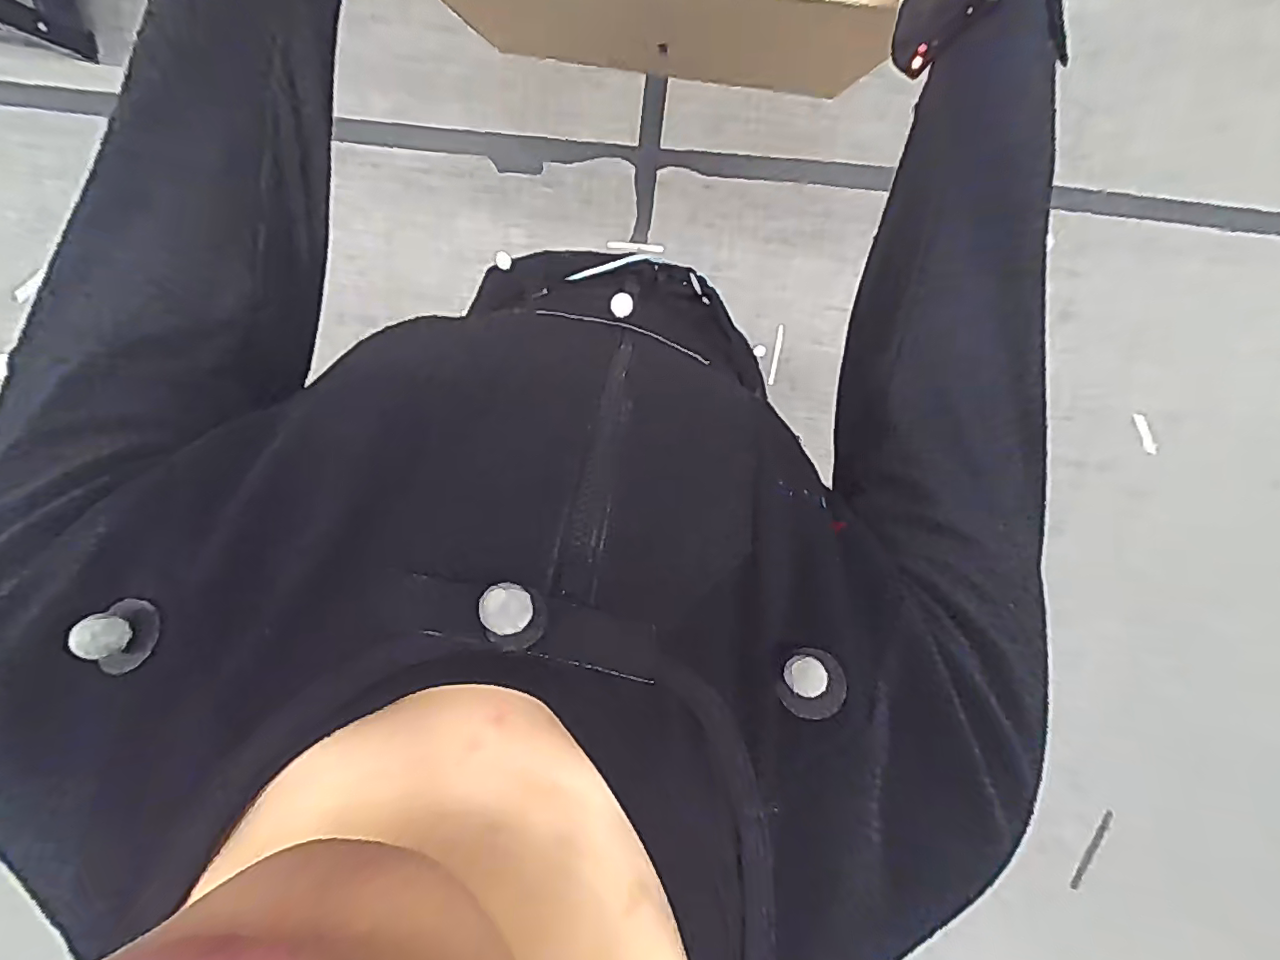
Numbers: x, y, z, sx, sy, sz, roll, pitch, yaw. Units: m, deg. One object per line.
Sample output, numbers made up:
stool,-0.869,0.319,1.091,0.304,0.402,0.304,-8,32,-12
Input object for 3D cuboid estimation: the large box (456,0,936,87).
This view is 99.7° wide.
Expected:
large box,0.042,-0.556,0.444,0.408,0.320,0.320,9,116,0
